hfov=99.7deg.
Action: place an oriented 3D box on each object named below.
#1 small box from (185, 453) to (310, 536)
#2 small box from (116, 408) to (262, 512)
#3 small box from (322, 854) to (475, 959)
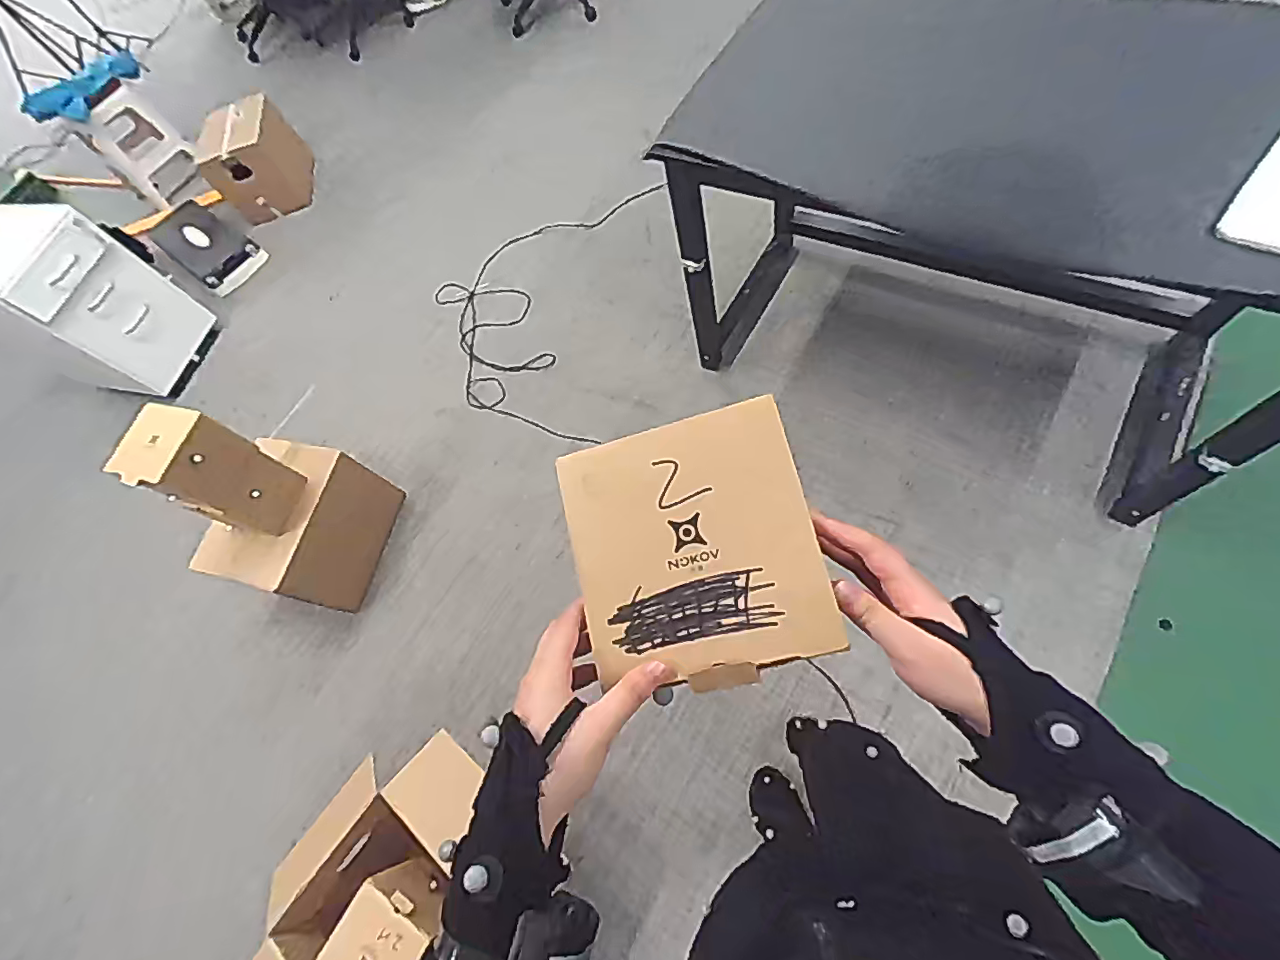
[{"bbox_3d":[-1.008,0.033,1.406,0.168,0.176,0.179,8,68,16],"label":"small box"},{"bbox_3d":[-1.037,-0.044,1.265,0.168,0.176,0.179,9,69,16],"label":"small box"},{"bbox_3d":[-0.447,0.860,1.024,0.168,0.176,0.179,25,74,20],"label":"small box"}]
